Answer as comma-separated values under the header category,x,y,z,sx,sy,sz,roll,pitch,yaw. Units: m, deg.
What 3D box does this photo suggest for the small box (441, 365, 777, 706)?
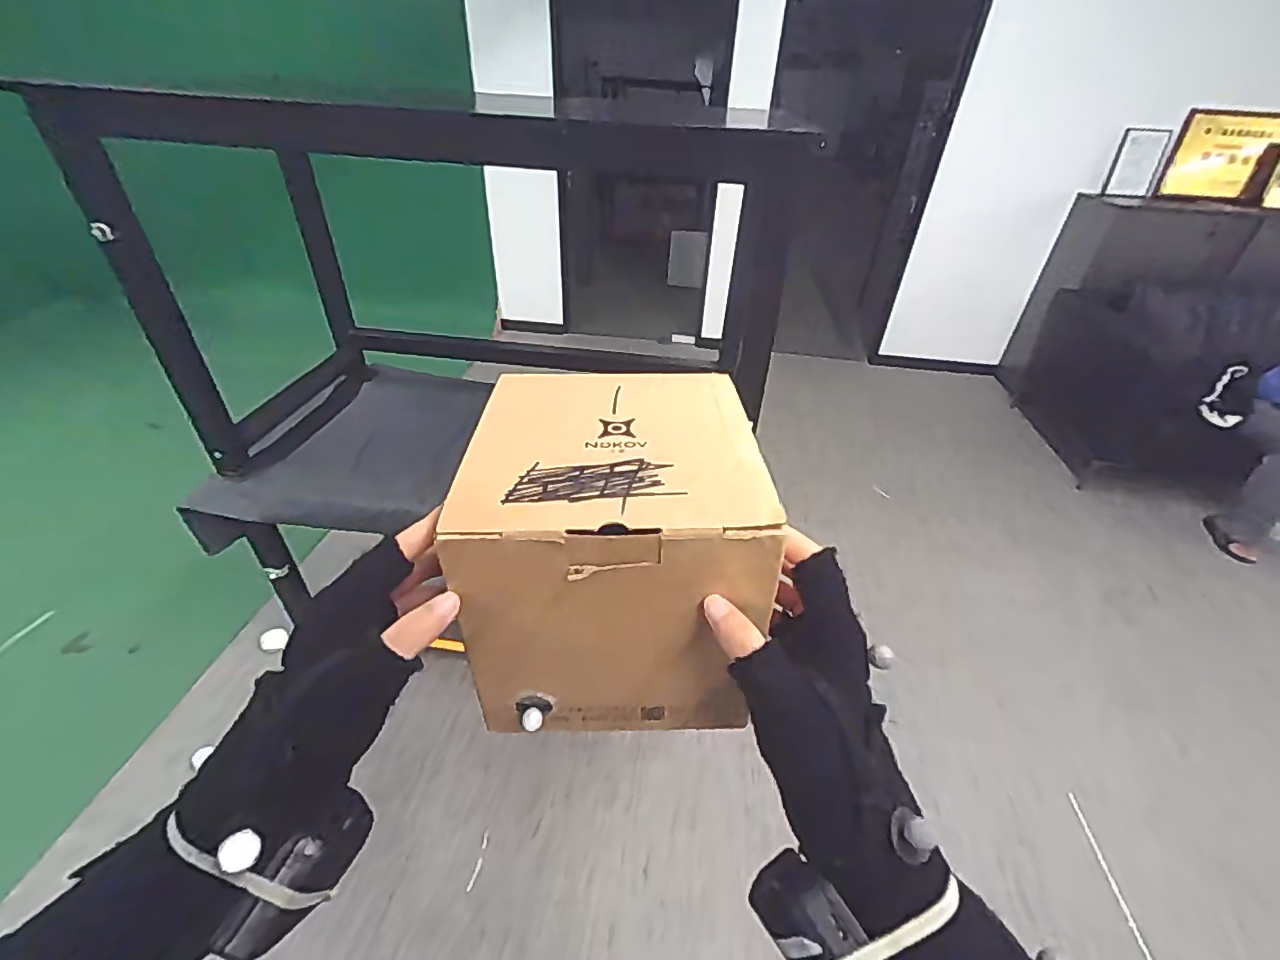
category,x,y,z,sx,sy,sz,roll,pitch,yaw
small box,-0.015,0.034,0.368,0.168,0.176,0.179,0,34,-2
